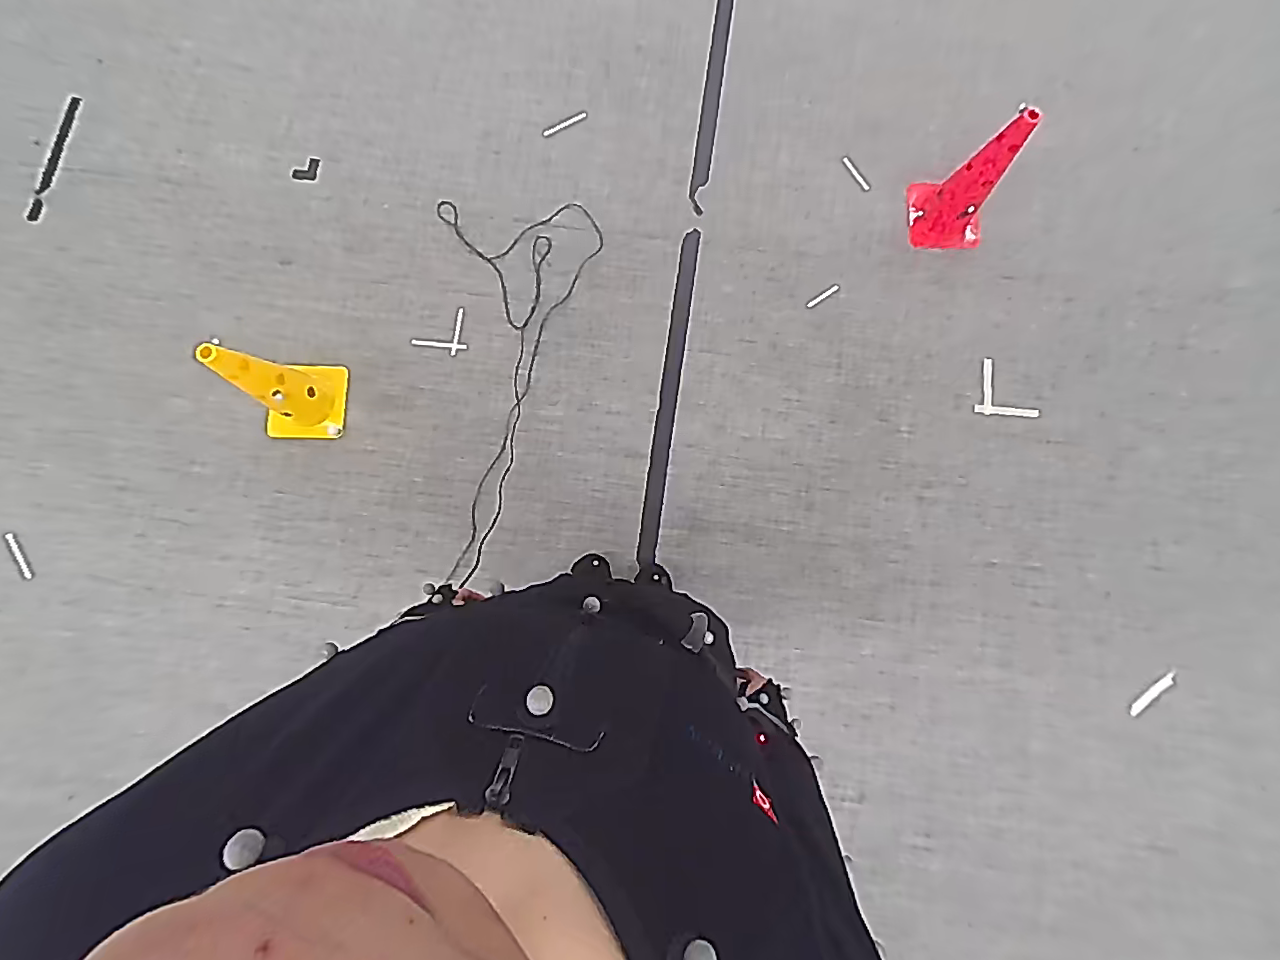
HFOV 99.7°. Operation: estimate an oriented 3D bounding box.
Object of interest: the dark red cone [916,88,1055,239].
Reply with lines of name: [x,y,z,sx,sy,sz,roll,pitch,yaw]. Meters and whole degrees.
dark red cone: [0.864,-0.788,1.334,0.201,0.394,0.202,0,81,1]
